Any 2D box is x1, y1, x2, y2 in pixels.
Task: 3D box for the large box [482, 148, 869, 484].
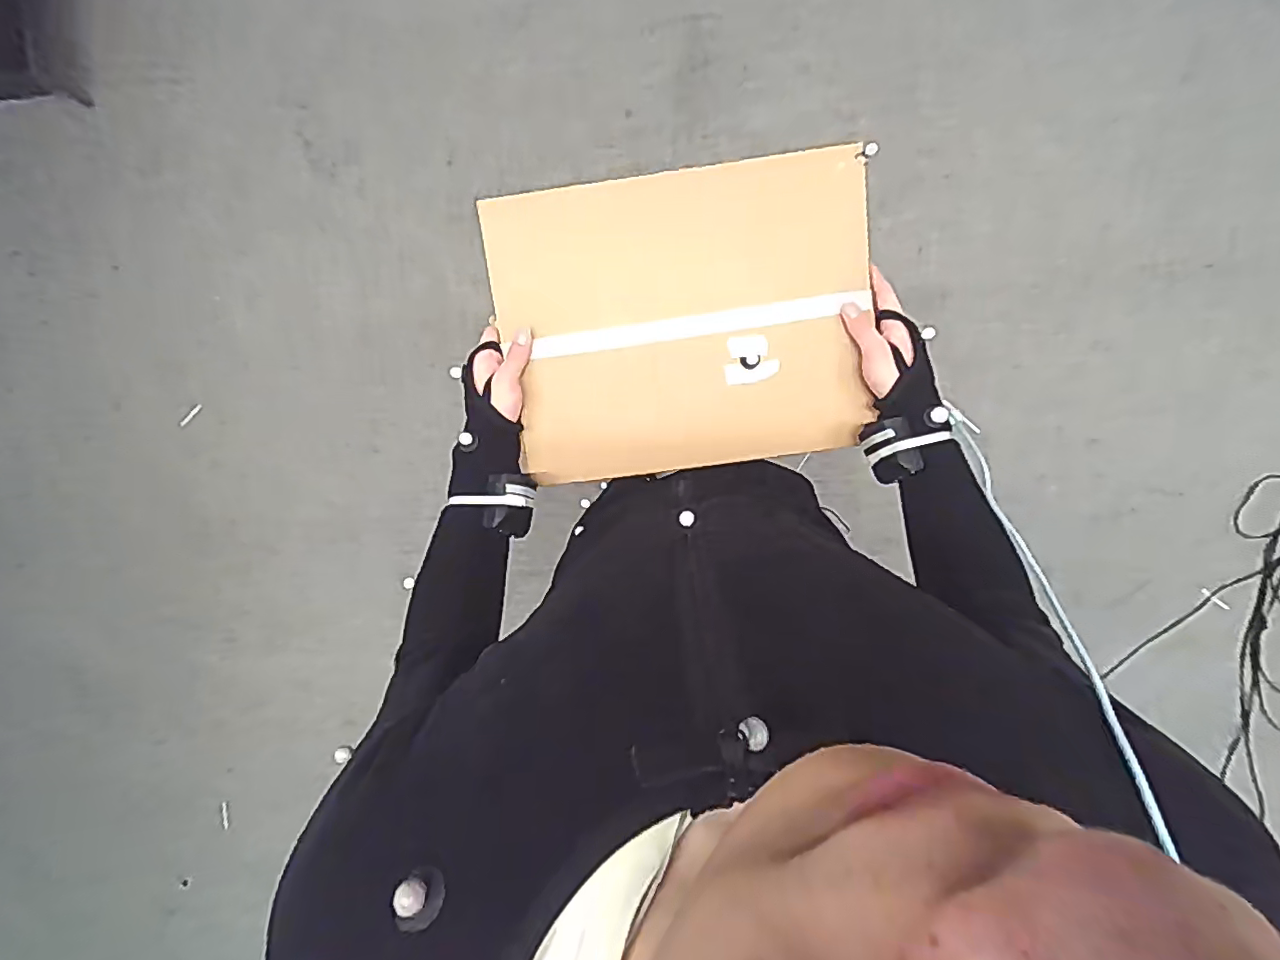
[{"bbox_3d":[0.045,-0.198,0.747,0.408,0.320,0.320,-8,101,1],"label":"large box"}]
